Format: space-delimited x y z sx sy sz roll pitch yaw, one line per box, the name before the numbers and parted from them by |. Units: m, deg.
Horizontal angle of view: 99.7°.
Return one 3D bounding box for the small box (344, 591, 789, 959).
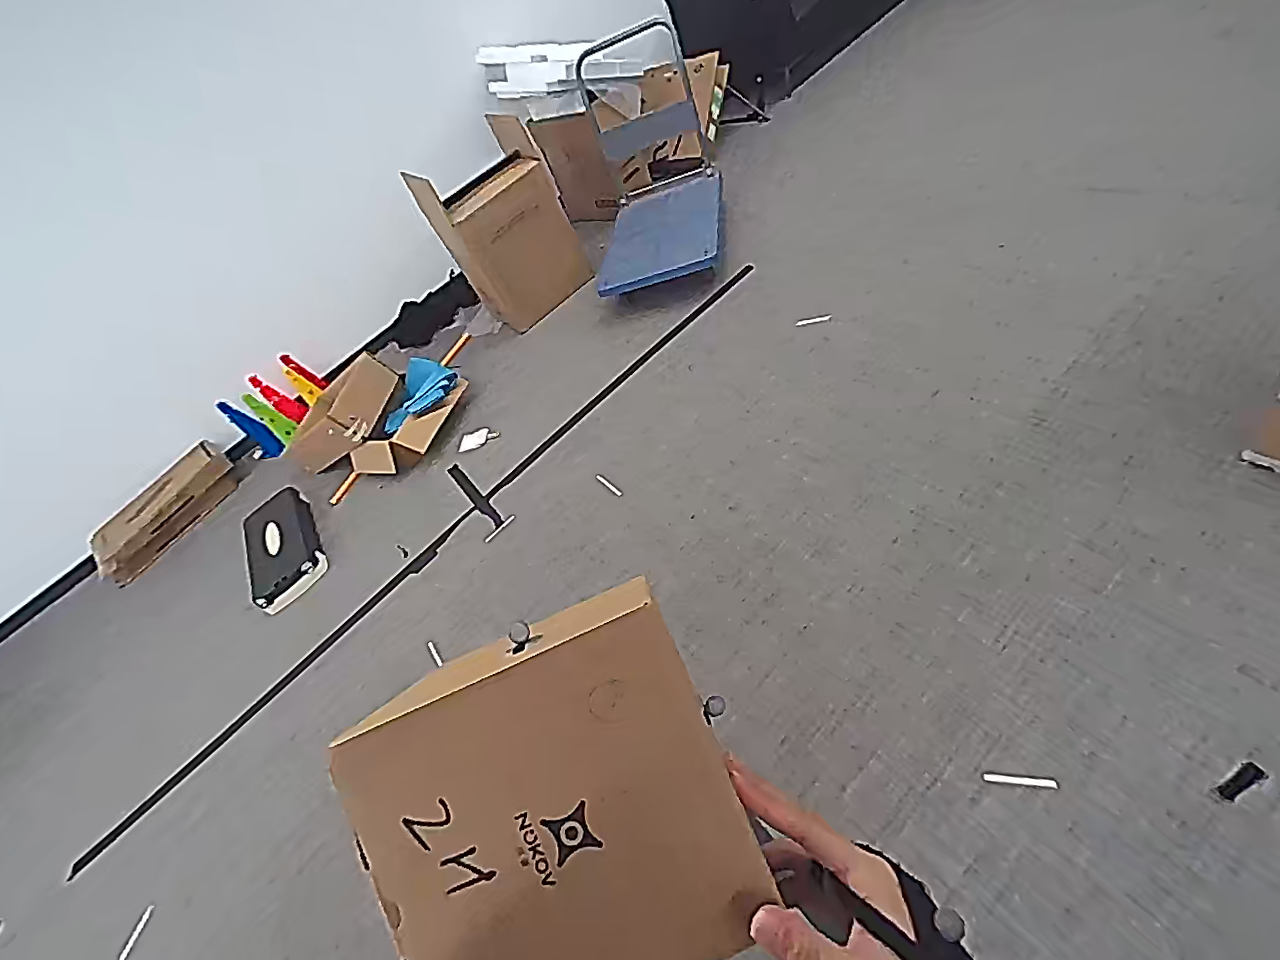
small box | -0.038 0.182 0.343 0.179 0.176 0.168 -23 85 -3
